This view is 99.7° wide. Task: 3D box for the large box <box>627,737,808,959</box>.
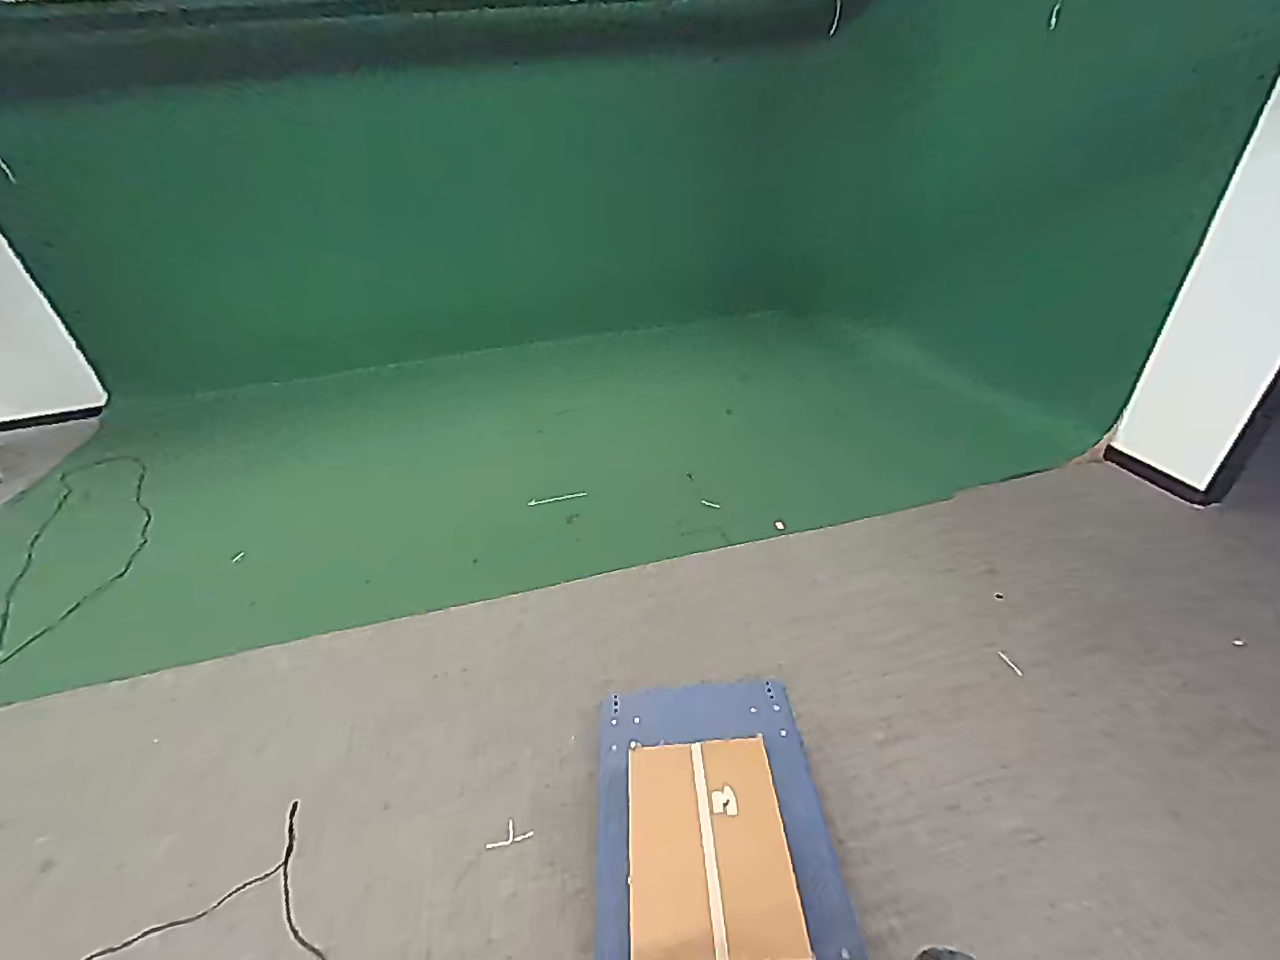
[{"bbox_3d":[0.145,0.844,1.173,0.320,0.320,0.408,-5,32,1],"label":"large box"}]
